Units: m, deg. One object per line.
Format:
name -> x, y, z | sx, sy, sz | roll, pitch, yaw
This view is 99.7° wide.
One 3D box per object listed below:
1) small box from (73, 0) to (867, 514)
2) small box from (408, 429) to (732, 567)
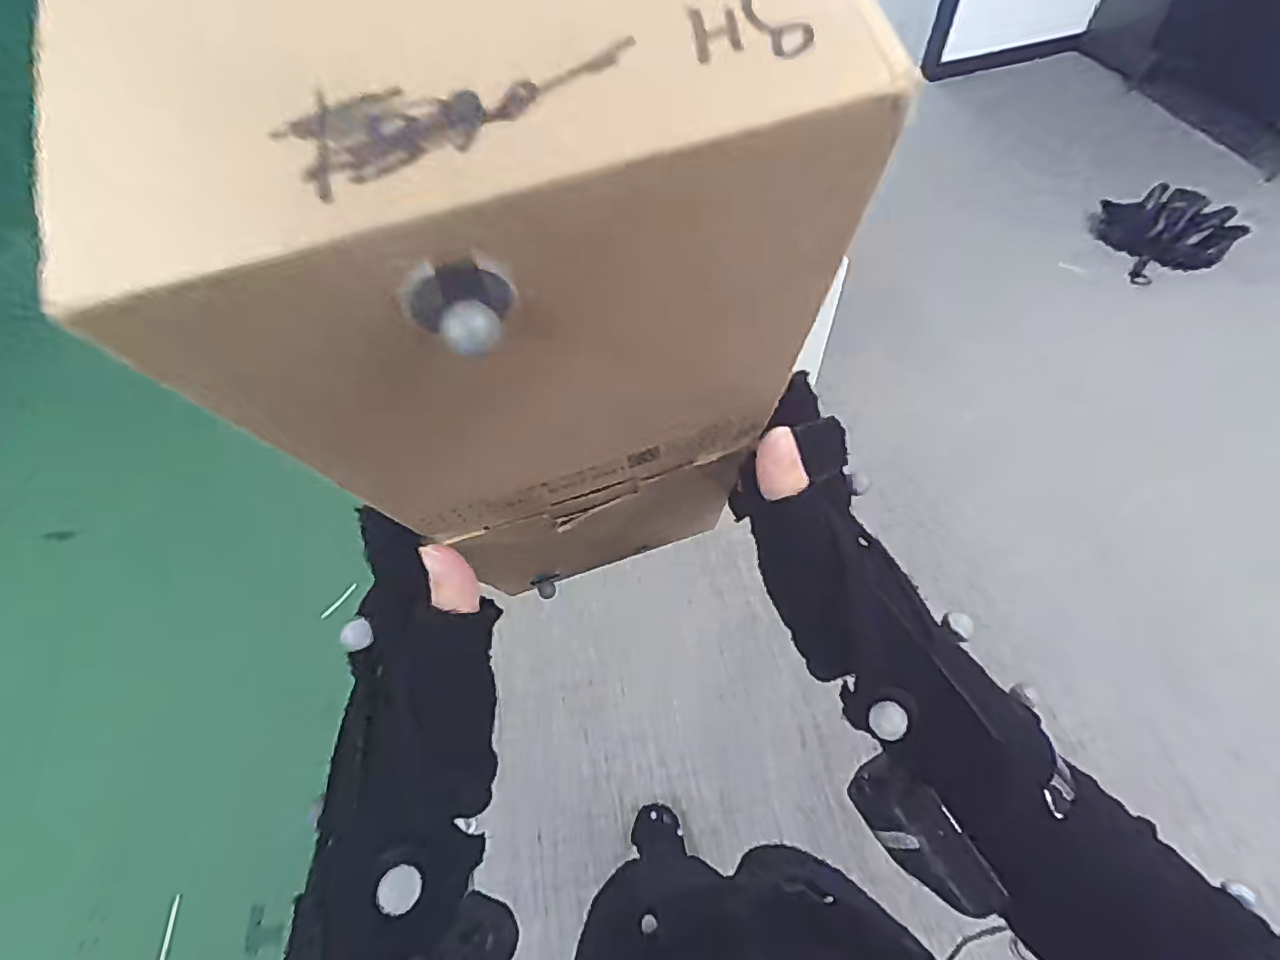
small box -> -0.050, -0.108, 0.213 | 0.168, 0.176, 0.179 | -17, 70, -4
small box -> -0.050, -0.050, 0.365 | 0.168, 0.176, 0.179 | -17, 70, -4
